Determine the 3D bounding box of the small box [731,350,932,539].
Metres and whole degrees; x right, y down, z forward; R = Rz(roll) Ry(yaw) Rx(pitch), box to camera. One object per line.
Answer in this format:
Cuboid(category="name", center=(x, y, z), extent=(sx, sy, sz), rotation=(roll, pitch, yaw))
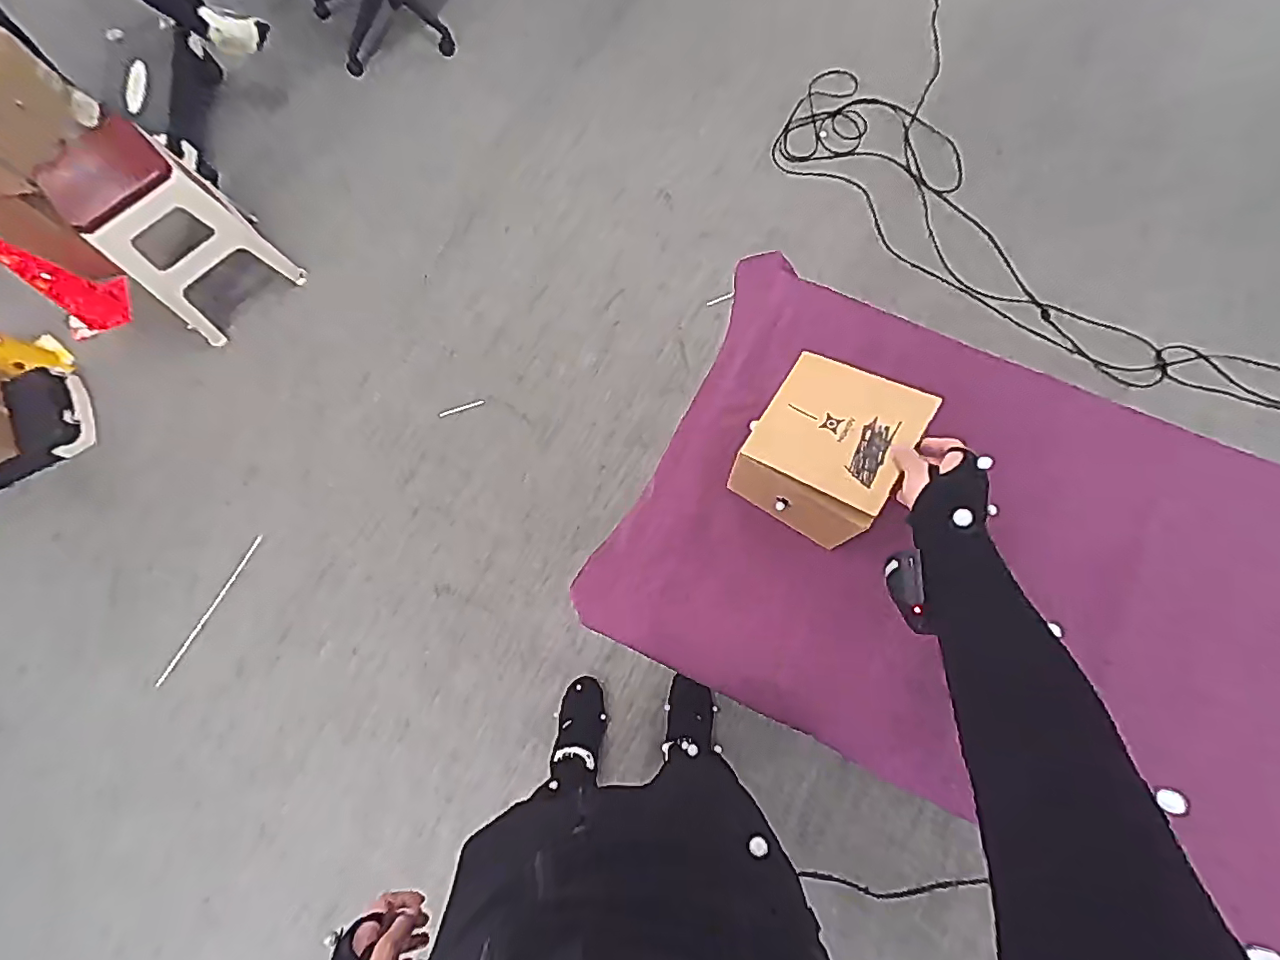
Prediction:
Cuboid(category="small box", center=(0.242, -0.035, 0.728), extent=(0.179, 0.176, 0.168), rotation=(32, 79, 13))
